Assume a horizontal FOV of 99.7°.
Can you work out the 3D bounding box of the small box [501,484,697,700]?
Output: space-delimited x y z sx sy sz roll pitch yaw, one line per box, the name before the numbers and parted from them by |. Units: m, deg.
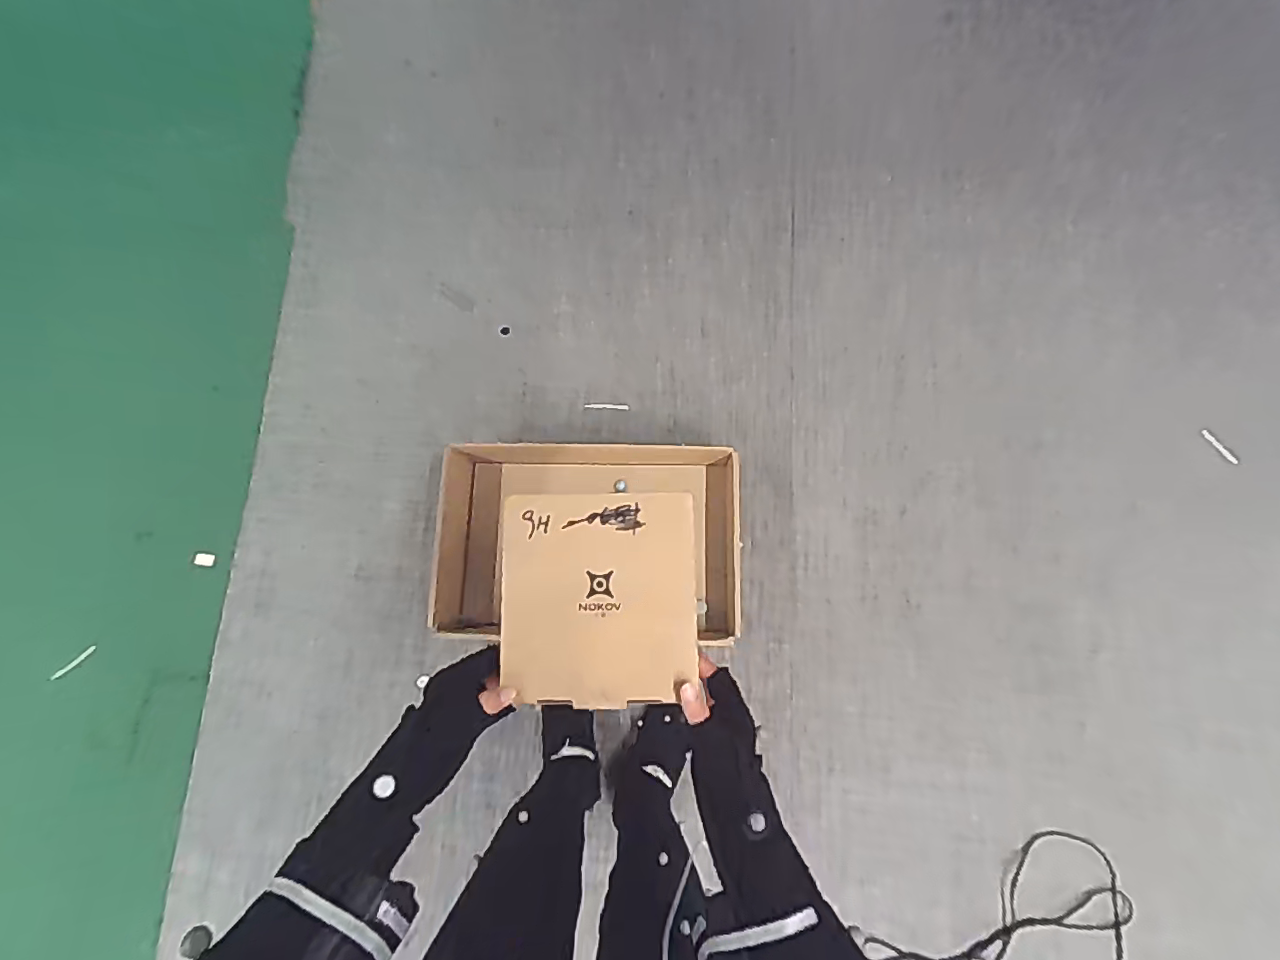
small box | -0.032 0.105 0.539 0.168 0.176 0.179 -4 81 2
